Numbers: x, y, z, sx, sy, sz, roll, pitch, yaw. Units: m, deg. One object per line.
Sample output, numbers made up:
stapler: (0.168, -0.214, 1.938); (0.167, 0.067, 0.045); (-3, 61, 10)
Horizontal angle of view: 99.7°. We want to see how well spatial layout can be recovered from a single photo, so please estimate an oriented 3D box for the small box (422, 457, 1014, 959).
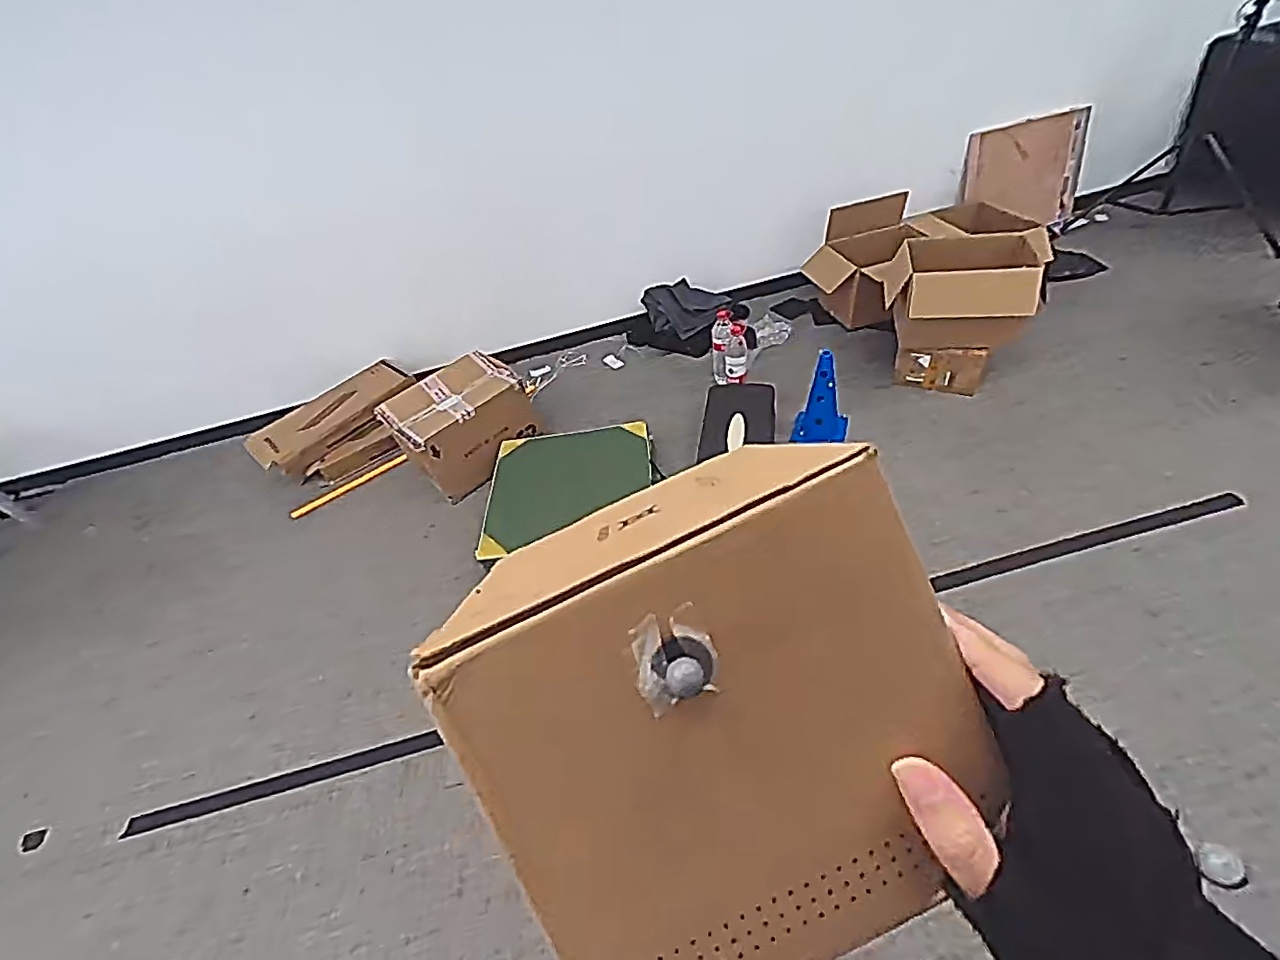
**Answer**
small box: (0.032, 0.100, 0.270); (0.179, 0.176, 0.168); (-25, 5, -2)
